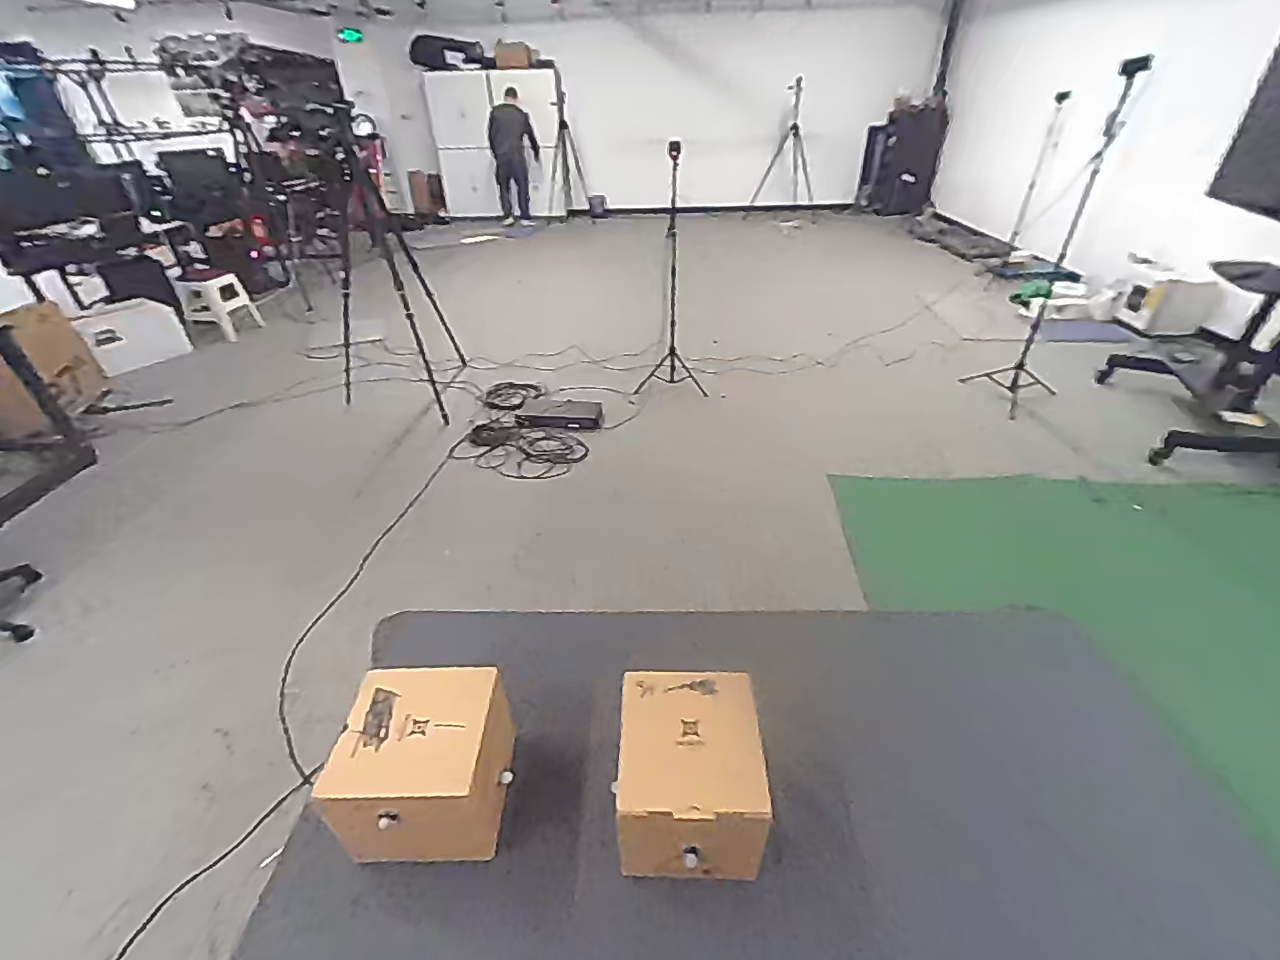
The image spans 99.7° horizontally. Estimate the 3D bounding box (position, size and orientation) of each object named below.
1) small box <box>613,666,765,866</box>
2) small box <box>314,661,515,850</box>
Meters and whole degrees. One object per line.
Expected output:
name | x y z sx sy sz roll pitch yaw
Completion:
small box | 0.059 0.362 0.686 0.168 0.176 0.179 0 36 2
small box | -0.272 0.356 0.702 0.179 0.176 0.168 0 36 -1
